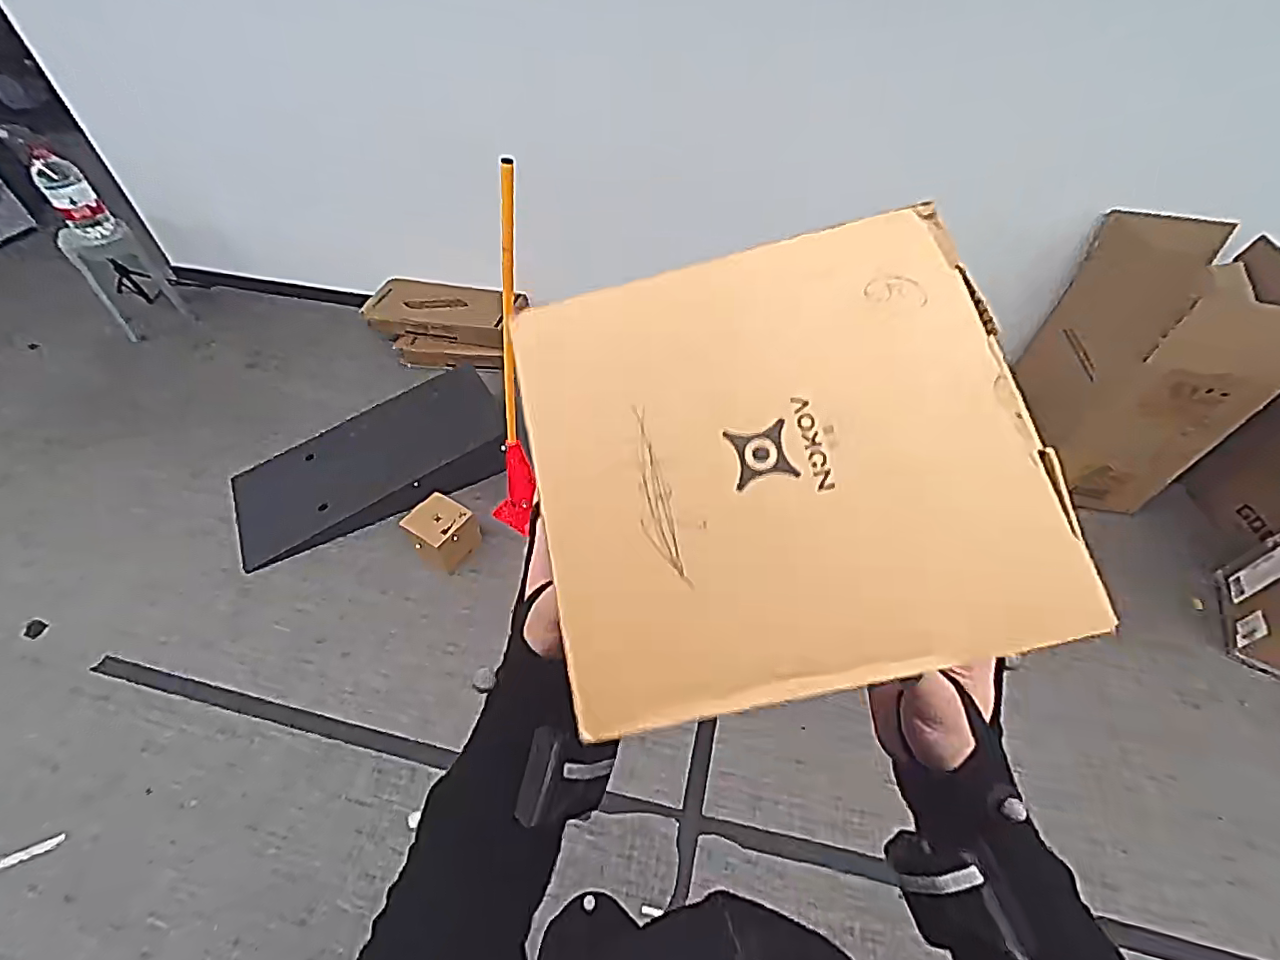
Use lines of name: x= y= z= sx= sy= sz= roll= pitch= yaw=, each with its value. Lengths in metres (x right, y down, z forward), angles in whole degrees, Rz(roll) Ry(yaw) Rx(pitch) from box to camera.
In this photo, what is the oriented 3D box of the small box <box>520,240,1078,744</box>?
small box: x=0.059 y=0.016 z=0.284 sx=0.179 sy=0.176 sz=0.168 roll=-15 pitch=75 yaw=5
